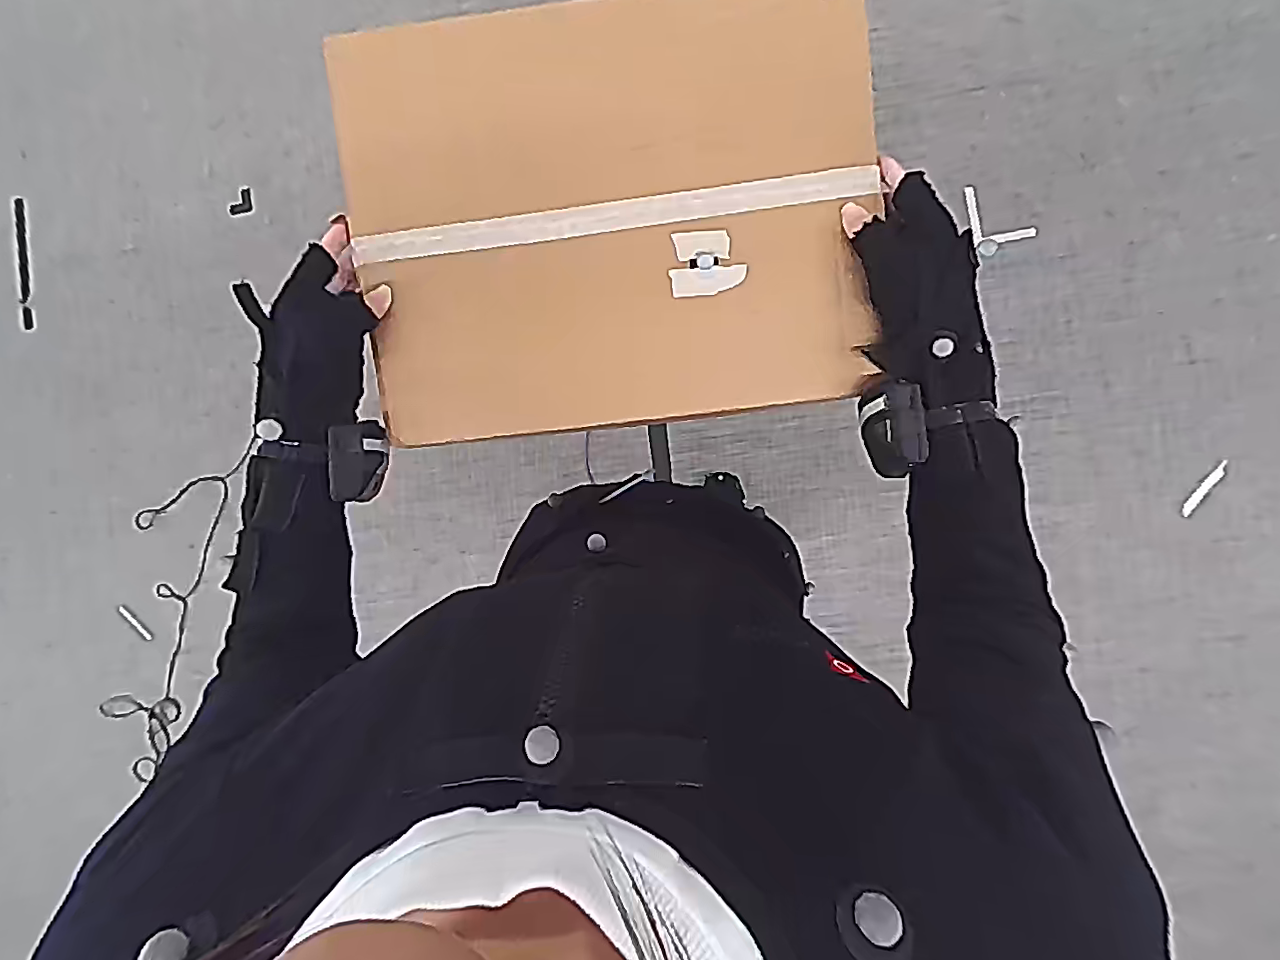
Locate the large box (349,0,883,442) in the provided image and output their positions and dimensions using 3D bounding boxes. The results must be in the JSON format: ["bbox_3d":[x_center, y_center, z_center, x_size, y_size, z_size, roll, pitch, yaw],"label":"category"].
[{"bbox_3d":[-0.014,-0.221,0.579,0.408,0.320,0.320,-6,96,2],"label":"large box"}]
